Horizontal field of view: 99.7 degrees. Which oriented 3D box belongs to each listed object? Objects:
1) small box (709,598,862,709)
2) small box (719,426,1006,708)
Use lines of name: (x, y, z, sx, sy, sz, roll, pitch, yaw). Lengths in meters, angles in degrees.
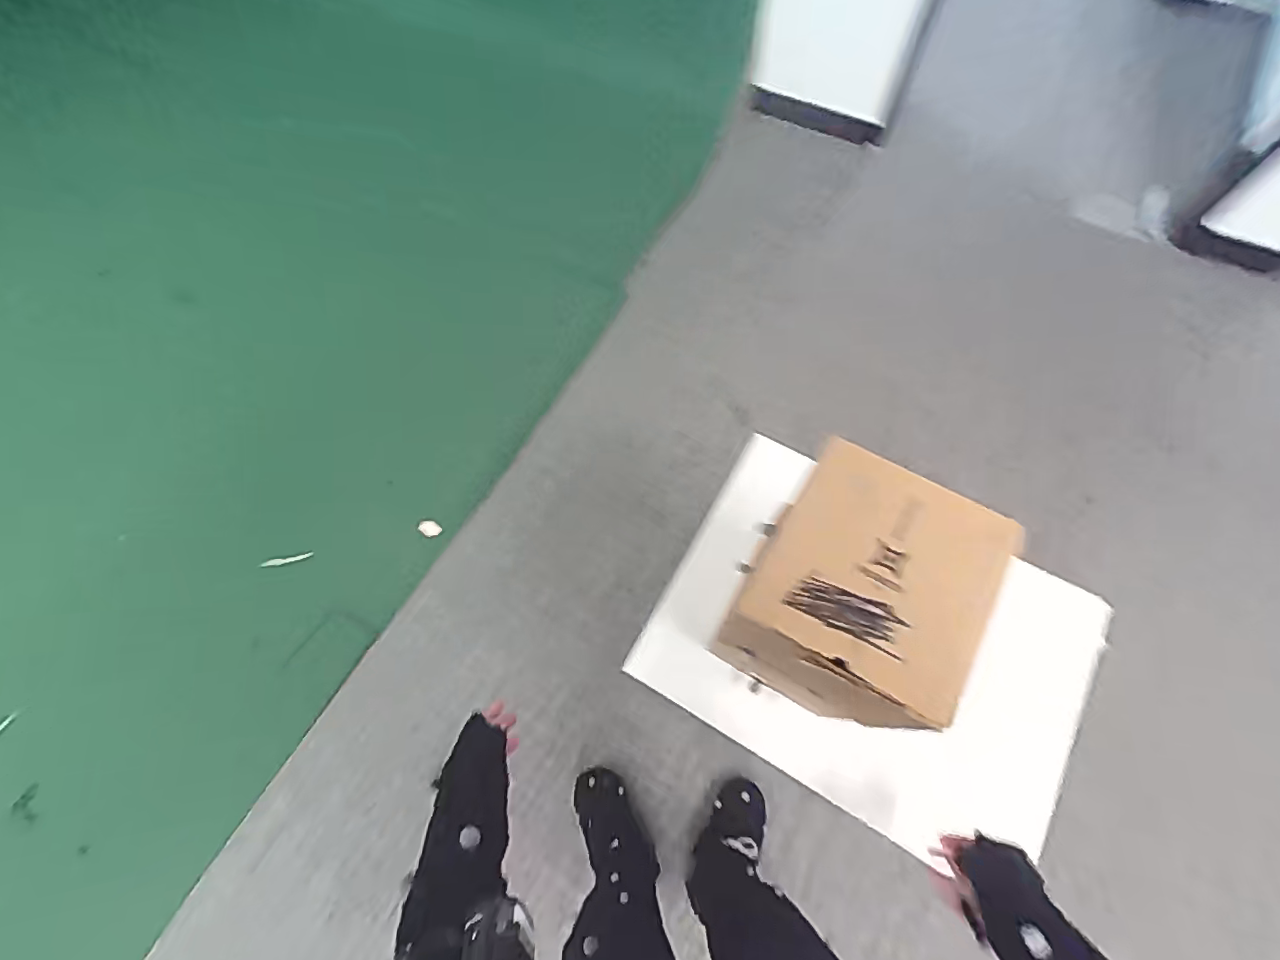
small box: (0.190, 0.144, 0.639, 0.168, 0.176, 0.179, 28, 73, 13)
small box: (0.185, 0.089, 0.502, 0.168, 0.176, 0.179, 31, 71, 14)
